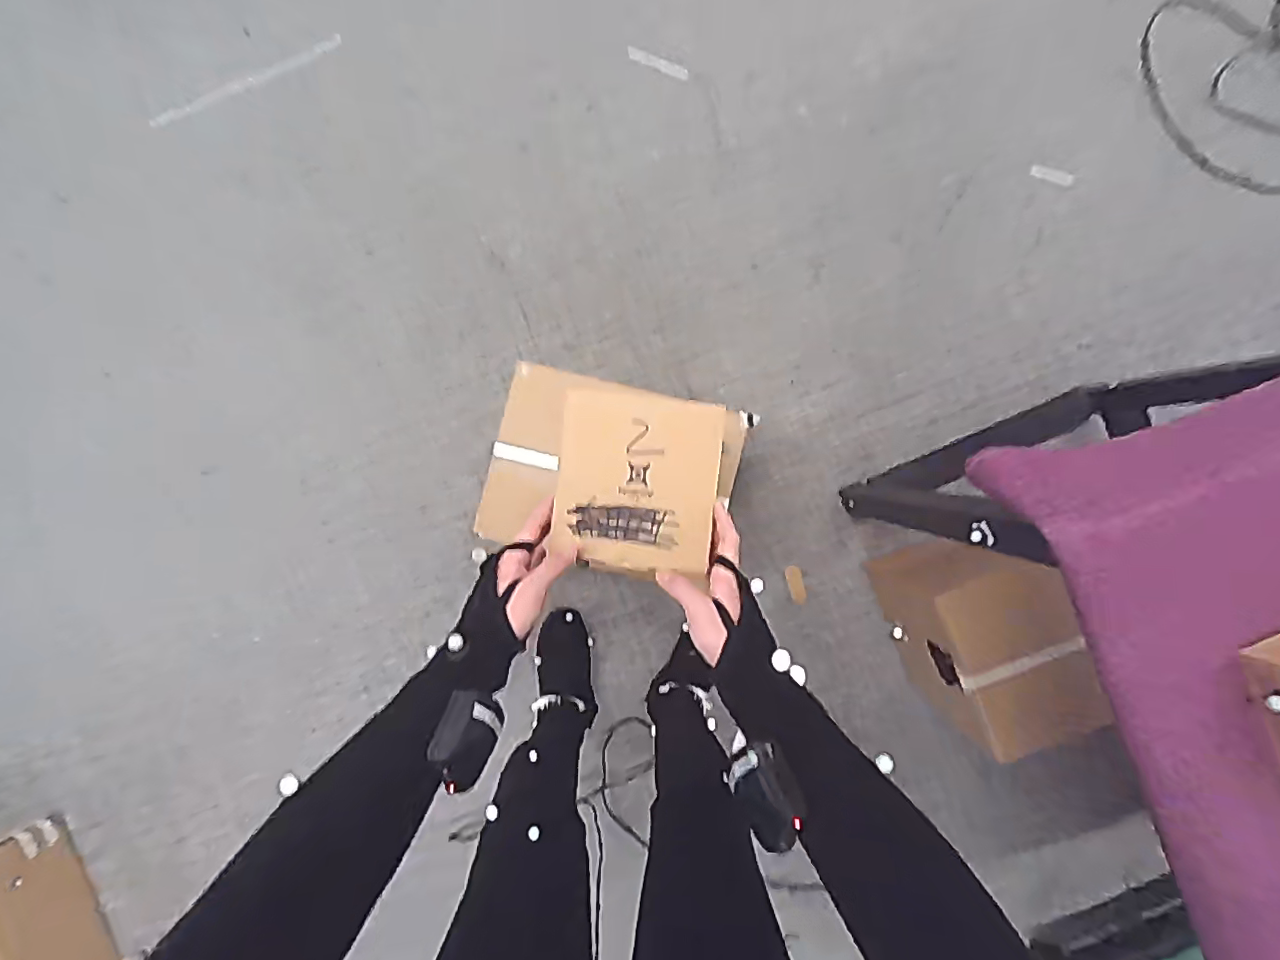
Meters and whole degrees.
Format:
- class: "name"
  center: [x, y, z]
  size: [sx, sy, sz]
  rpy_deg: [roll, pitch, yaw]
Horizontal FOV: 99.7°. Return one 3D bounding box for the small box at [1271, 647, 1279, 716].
- class: "small box"
  center: [0.625, 0.194, 0.381]
  size: [0.179, 0.176, 0.168]
  rpy_deg: [-23, 91, 0]
